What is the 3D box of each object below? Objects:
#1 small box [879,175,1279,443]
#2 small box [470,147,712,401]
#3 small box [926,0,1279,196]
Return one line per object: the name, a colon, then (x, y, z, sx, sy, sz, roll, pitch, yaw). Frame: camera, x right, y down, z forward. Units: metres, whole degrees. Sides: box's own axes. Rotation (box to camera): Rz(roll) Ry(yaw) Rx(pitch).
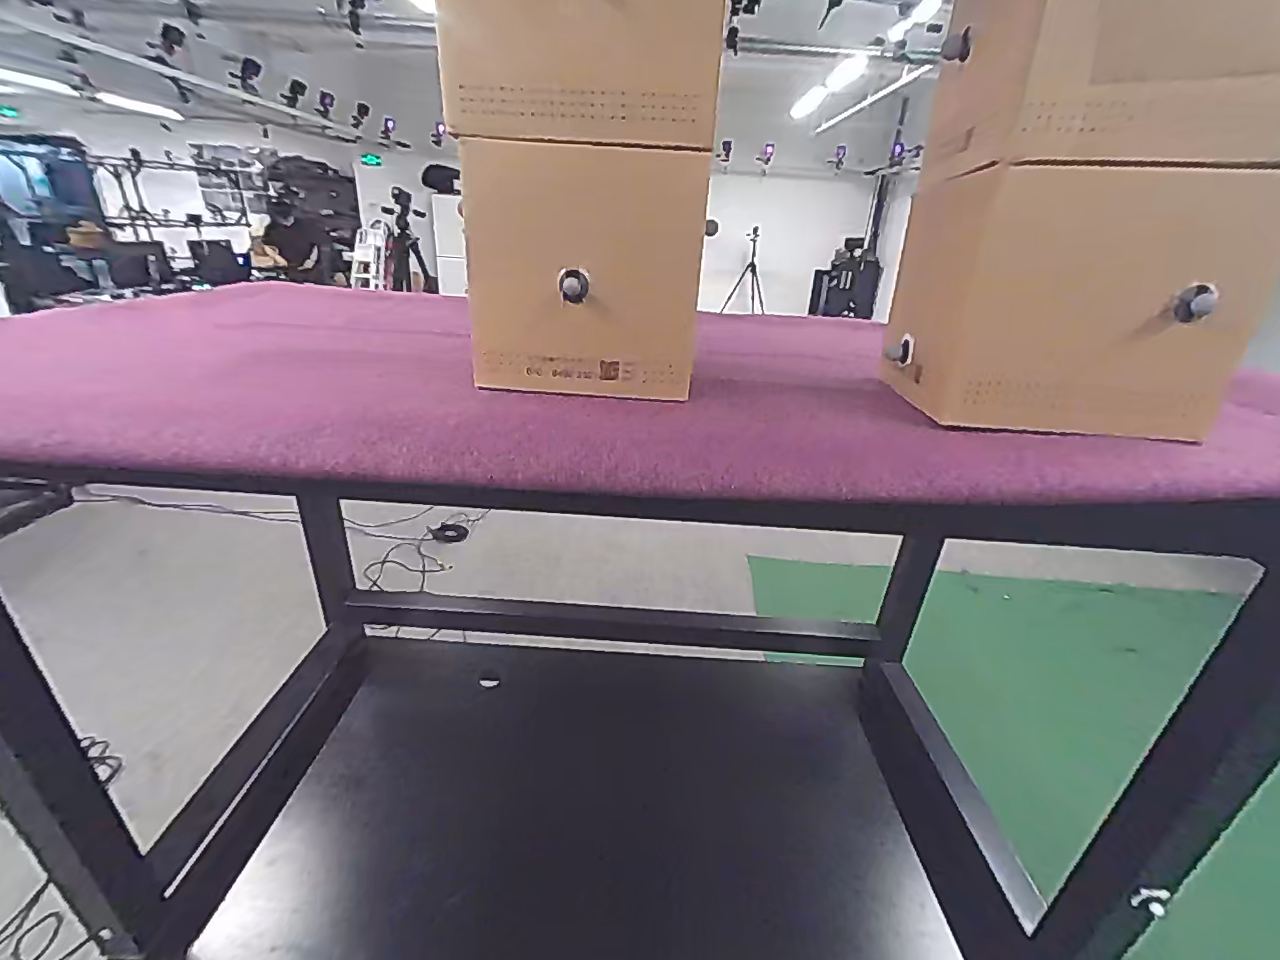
small box: (0.314, -0.132, 0.427, 0.179, 0.176, 0.168, 4, 22, 6)
small box: (-0.033, -0.172, 0.464, 0.168, 0.176, 0.179, 5, 24, 0)
small box: (0.318, -0.285, 0.371, 0.179, 0.176, 0.168, 6, 22, 8)
